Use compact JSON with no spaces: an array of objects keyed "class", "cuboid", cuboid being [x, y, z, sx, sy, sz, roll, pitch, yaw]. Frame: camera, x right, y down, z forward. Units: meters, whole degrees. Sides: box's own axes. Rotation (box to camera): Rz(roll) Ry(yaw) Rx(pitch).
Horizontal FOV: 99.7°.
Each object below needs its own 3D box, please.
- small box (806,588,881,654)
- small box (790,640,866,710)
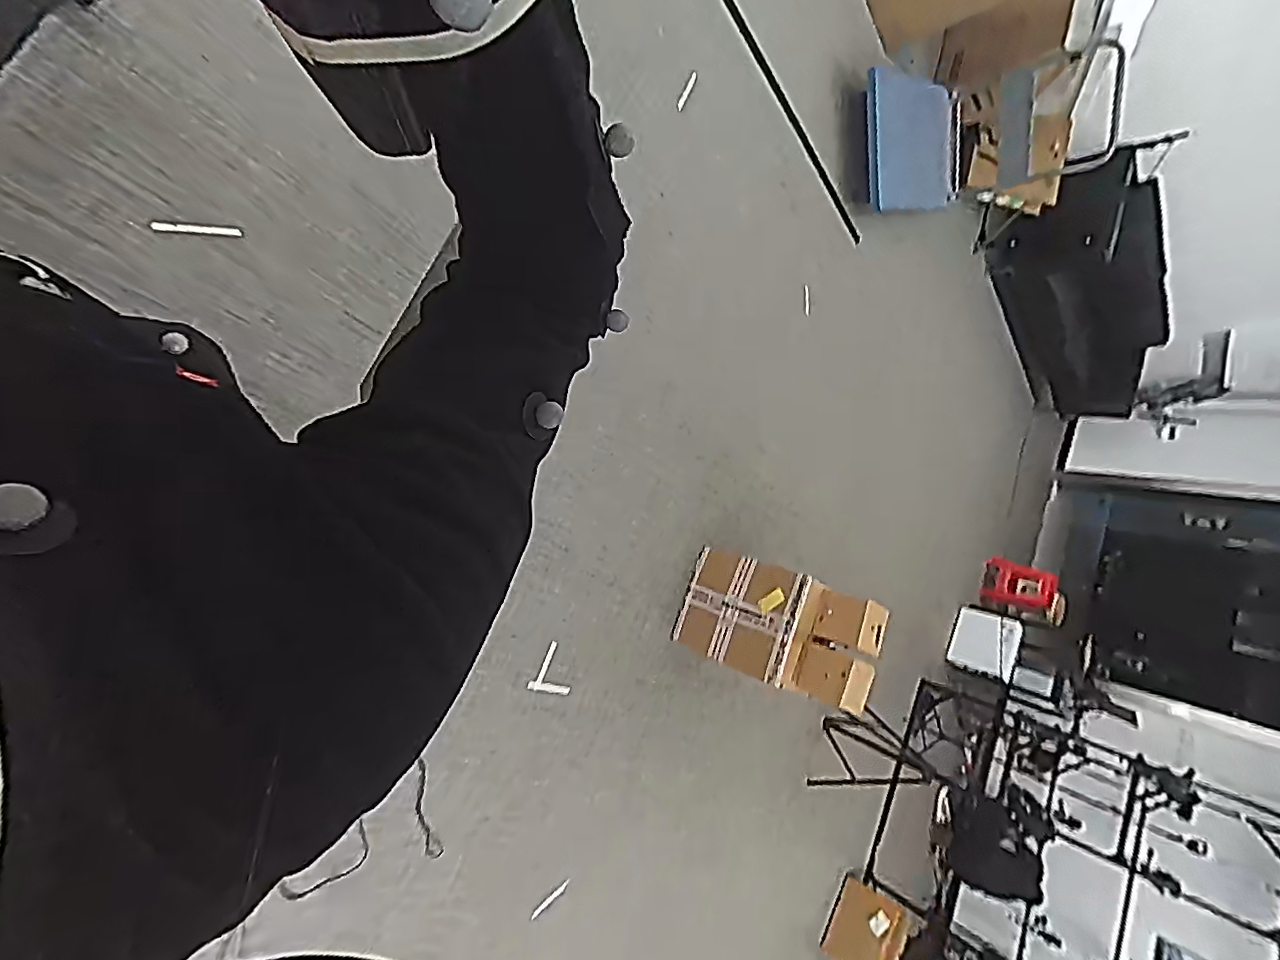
[{"class":"small box","cuboid":[0.714,0.492,1.900,0.179,0.176,0.168,29,74,-39]},{"class":"small box","cuboid":[0.654,0.676,1.870,0.179,0.176,0.168,30,79,-39]}]
